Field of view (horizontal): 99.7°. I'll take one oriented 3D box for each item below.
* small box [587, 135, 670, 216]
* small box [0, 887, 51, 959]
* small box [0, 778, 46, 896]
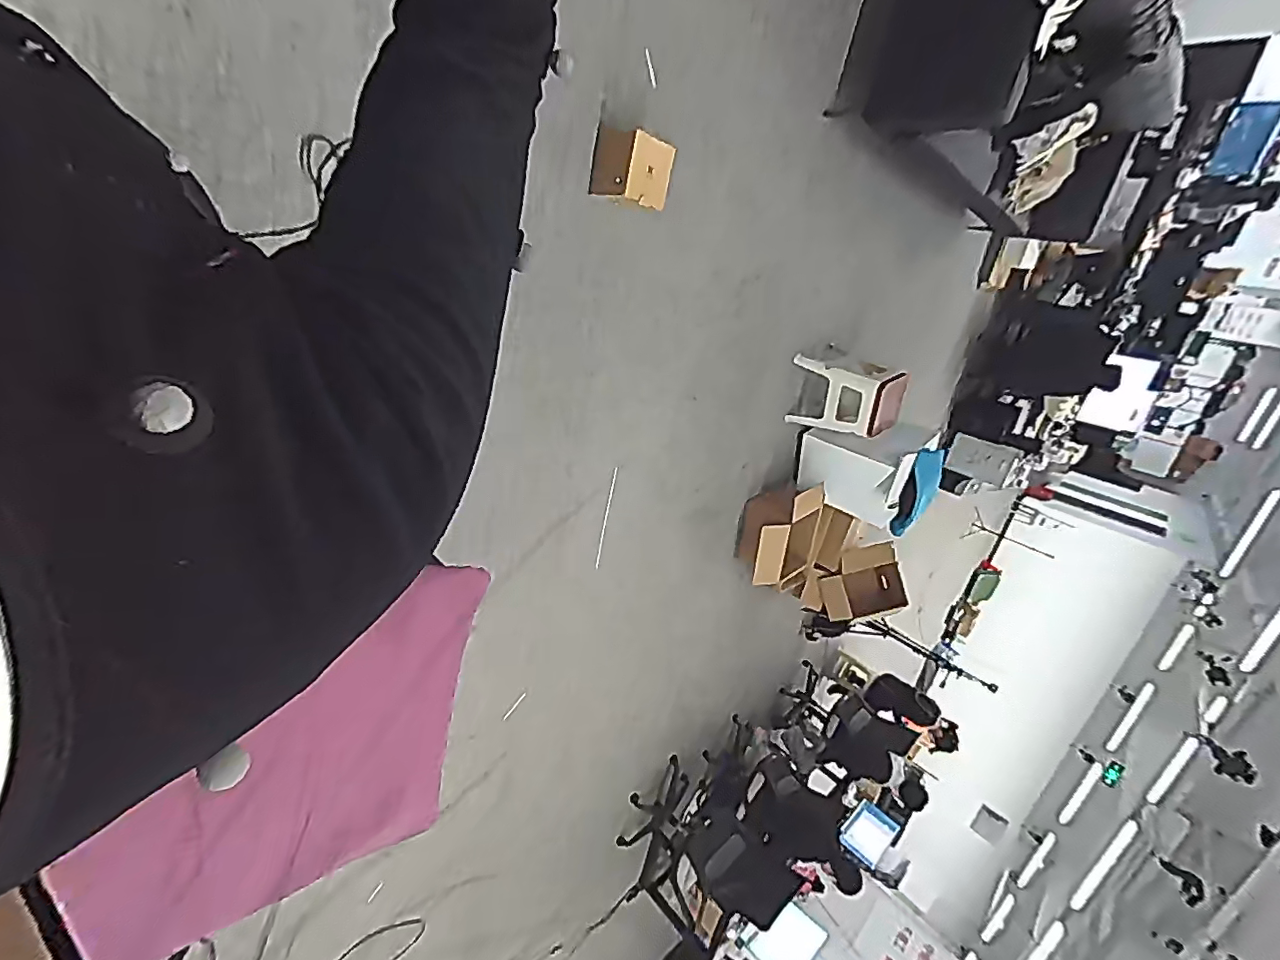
[{"bbox_3d":[-0.040,-0.917,1.636,0.168,0.176,0.179,-7,117,-45],"label":"small box"},{"bbox_3d":[-0.600,0.495,0.438,0.168,0.176,0.179,-3,114,-48],"label":"small box"},{"bbox_3d":[-0.720,0.450,0.541,0.168,0.176,0.179,0,111,-48],"label":"small box"}]
